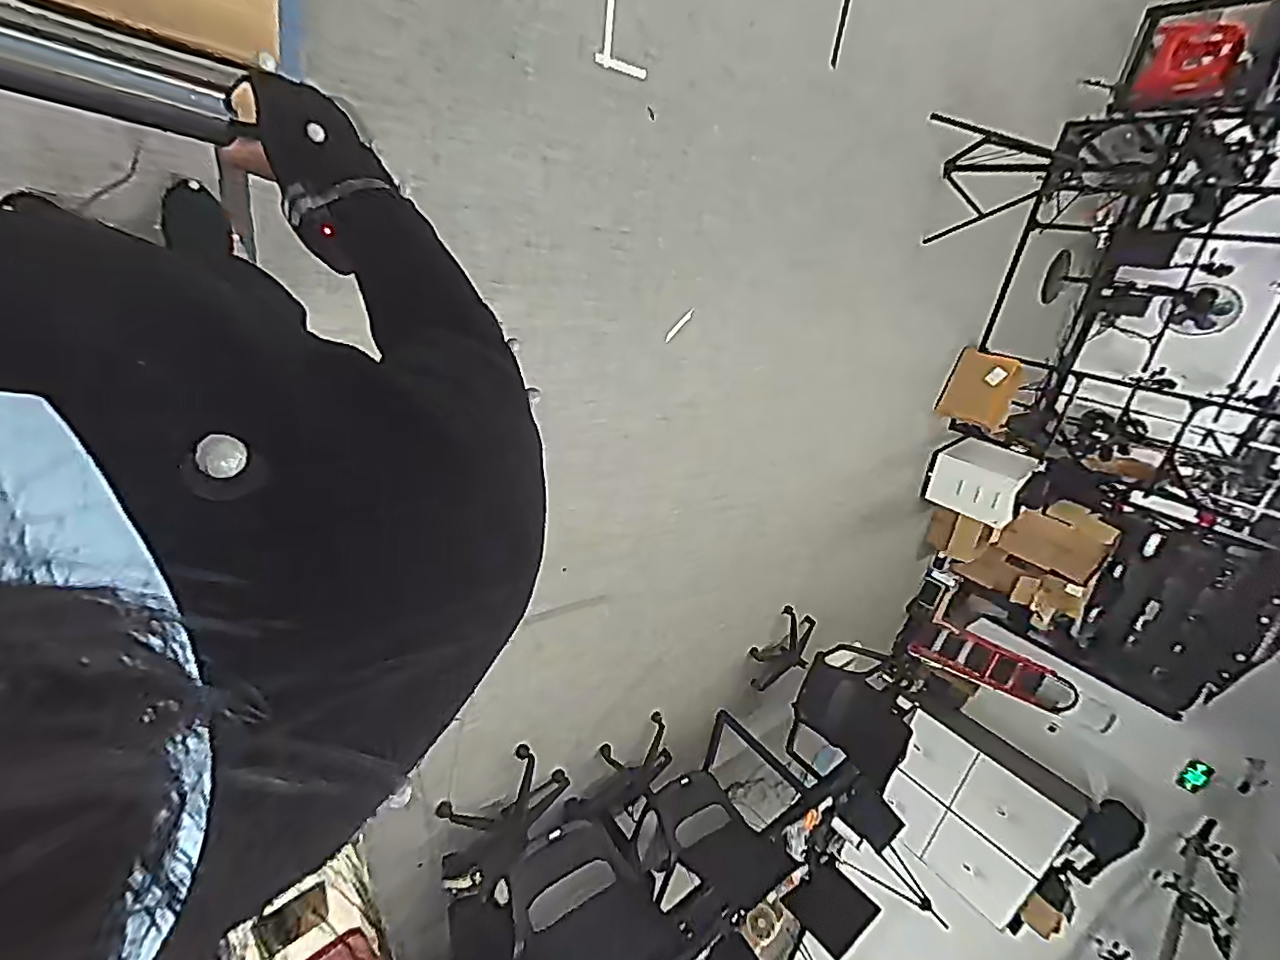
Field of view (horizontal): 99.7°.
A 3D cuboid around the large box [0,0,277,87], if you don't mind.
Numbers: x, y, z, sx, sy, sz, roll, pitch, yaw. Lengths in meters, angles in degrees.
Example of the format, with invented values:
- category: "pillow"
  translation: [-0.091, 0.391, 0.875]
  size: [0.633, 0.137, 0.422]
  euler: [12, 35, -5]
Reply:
- category: "large box"
  translation: [-0.706, -0.722, 0.641]
  size: [0.408, 0.320, 0.320]
  euler: [-8, 121, -41]
